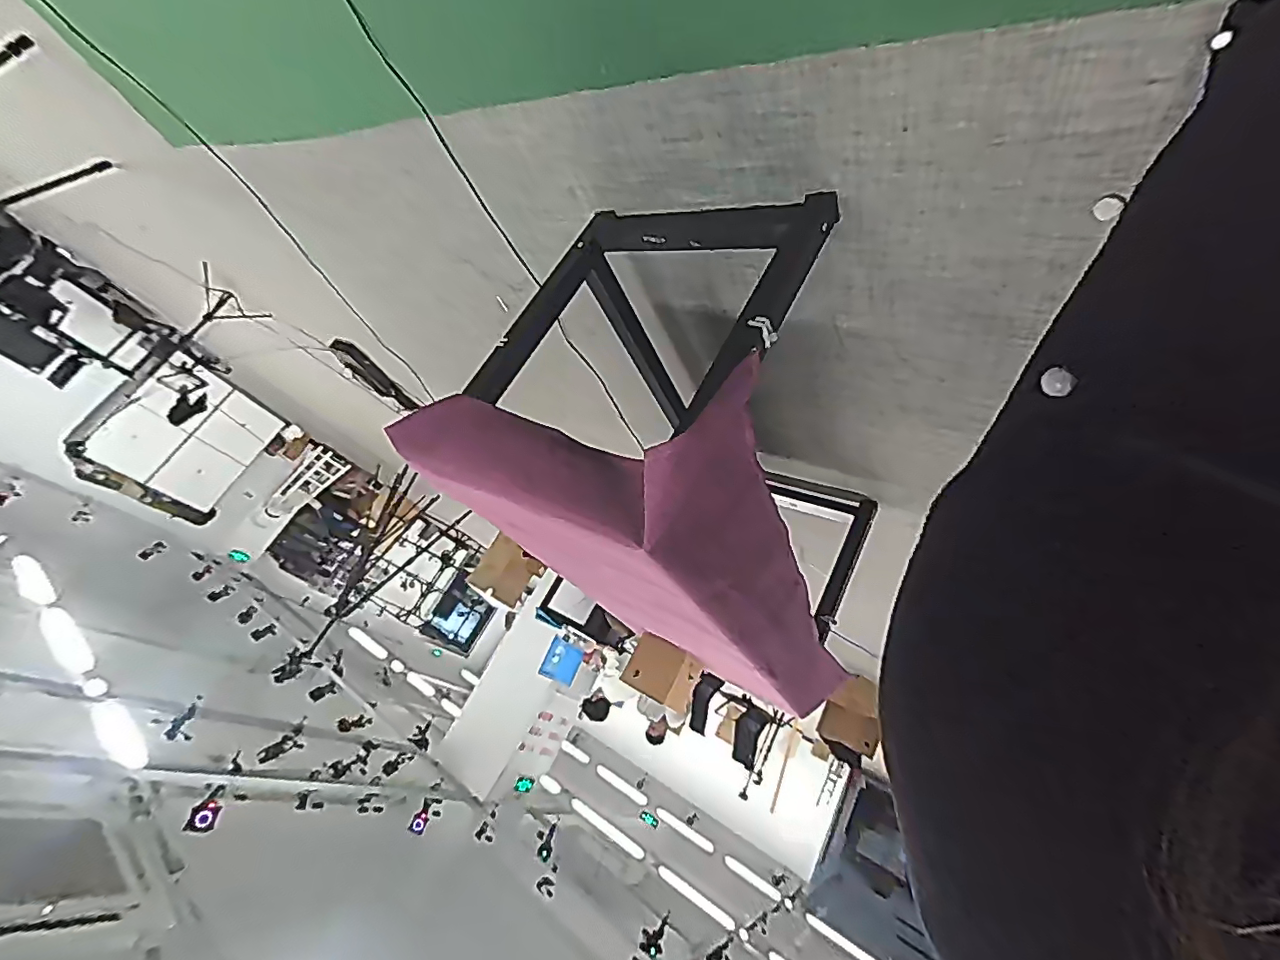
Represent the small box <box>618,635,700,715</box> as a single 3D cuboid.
[{"bbox_3d":[0.065,0.618,1.735,0.179,0.176,0.168,17,157,35],"label":"small box"}]
